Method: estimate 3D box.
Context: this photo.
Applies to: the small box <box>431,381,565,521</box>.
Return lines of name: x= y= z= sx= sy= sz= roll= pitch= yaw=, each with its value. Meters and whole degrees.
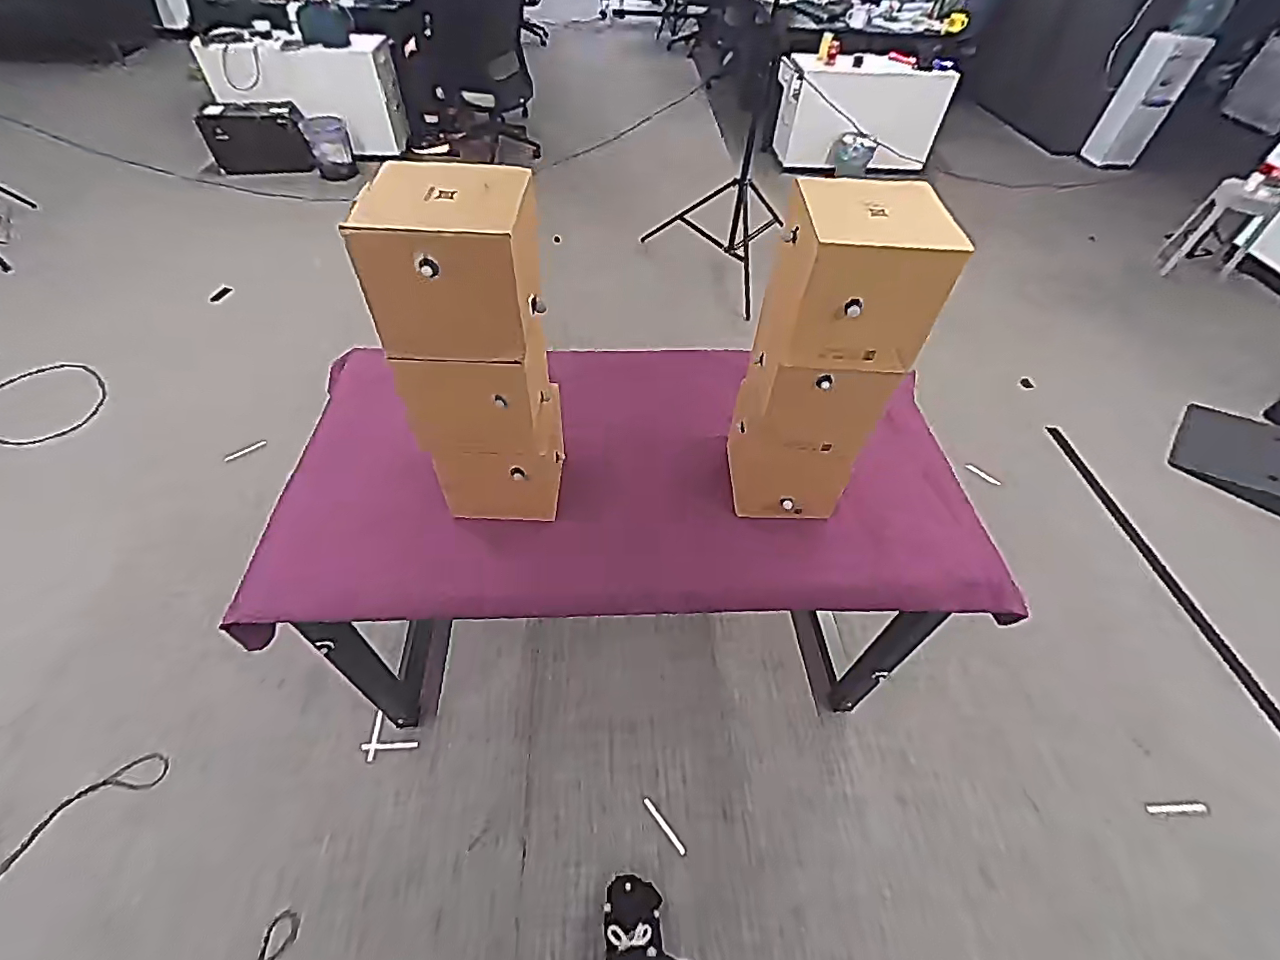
small box: x=-0.222 y=-0.045 z=0.906 sx=0.179 sy=0.176 sz=0.168 roll=2 pitch=49 yaw=-1

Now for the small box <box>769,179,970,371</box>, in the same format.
small box: x=0.267 y=-0.253 z=0.678 sx=0.168 sy=0.176 sz=0.179 roll=2 pitch=49 yaw=0

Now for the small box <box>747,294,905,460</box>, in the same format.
small box: x=0.260 y=-0.153 z=0.807 sx=0.168 sy=0.176 sz=0.179 roll=3 pitch=49 yaw=0

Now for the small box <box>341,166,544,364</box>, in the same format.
small box: x=-0.219 y=-0.257 z=0.657 sx=0.179 sy=0.176 sz=0.168 roll=2 pitch=51 yaw=-3

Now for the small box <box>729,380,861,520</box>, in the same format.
small box: x=0.254 y=-0.051 z=0.935 sx=0.168 sy=0.176 sz=0.179 roll=1 pitch=50 yaw=-1
